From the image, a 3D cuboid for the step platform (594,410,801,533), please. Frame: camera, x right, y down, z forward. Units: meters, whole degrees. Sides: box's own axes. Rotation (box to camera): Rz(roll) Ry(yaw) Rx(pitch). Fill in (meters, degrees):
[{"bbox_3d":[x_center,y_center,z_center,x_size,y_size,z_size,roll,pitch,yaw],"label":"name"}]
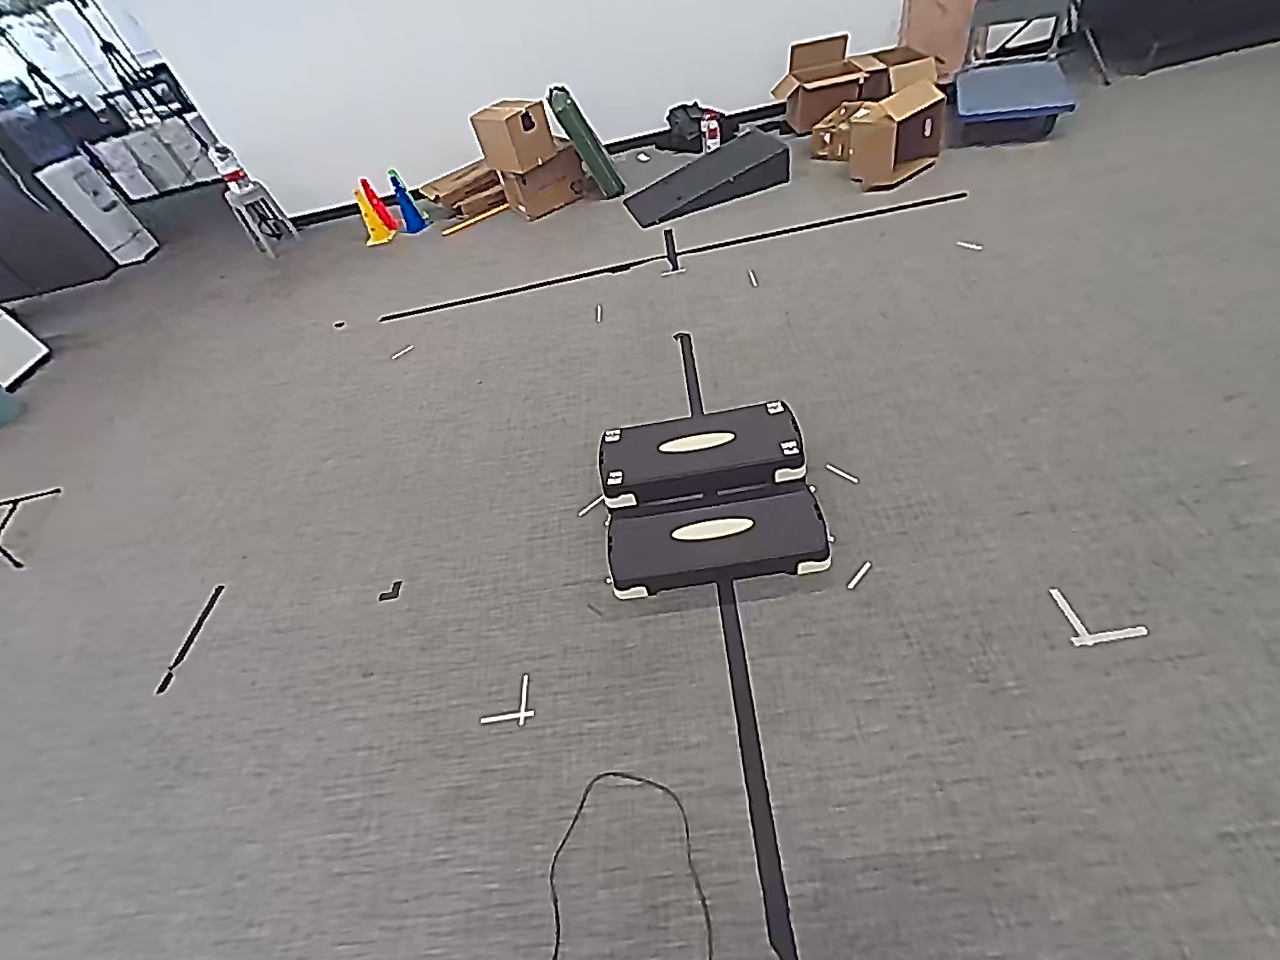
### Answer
[{"bbox_3d":[0.186,-0.033,1.834,0.684,0.204,0.286,-10,48,5],"label":"step platform"}]
